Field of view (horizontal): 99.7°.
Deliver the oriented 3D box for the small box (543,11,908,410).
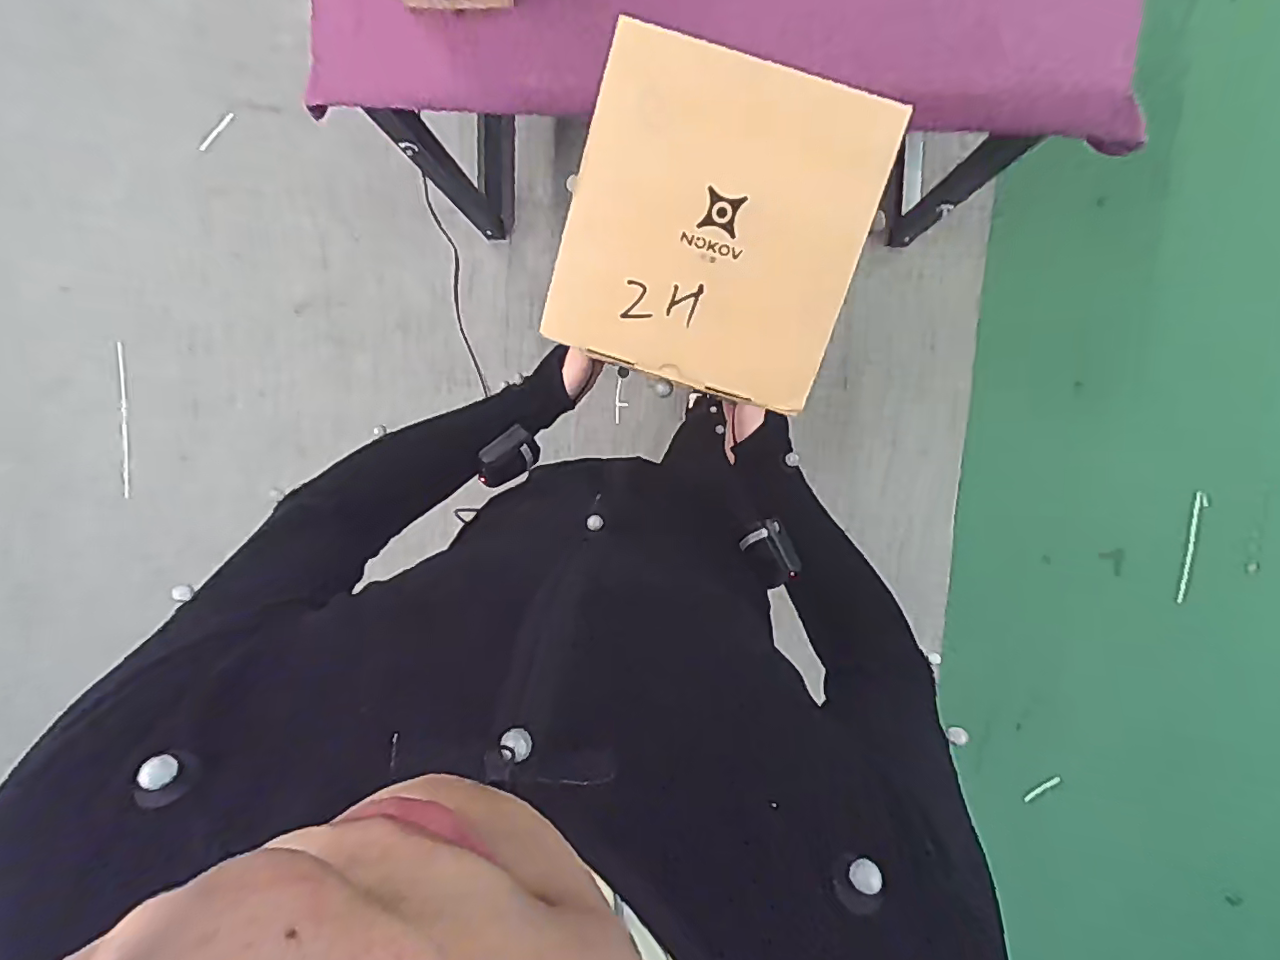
[{"bbox_3d":[0.047,-0.161,0.383,0.168,0.176,0.179,17,101,0],"label":"small box"}]
